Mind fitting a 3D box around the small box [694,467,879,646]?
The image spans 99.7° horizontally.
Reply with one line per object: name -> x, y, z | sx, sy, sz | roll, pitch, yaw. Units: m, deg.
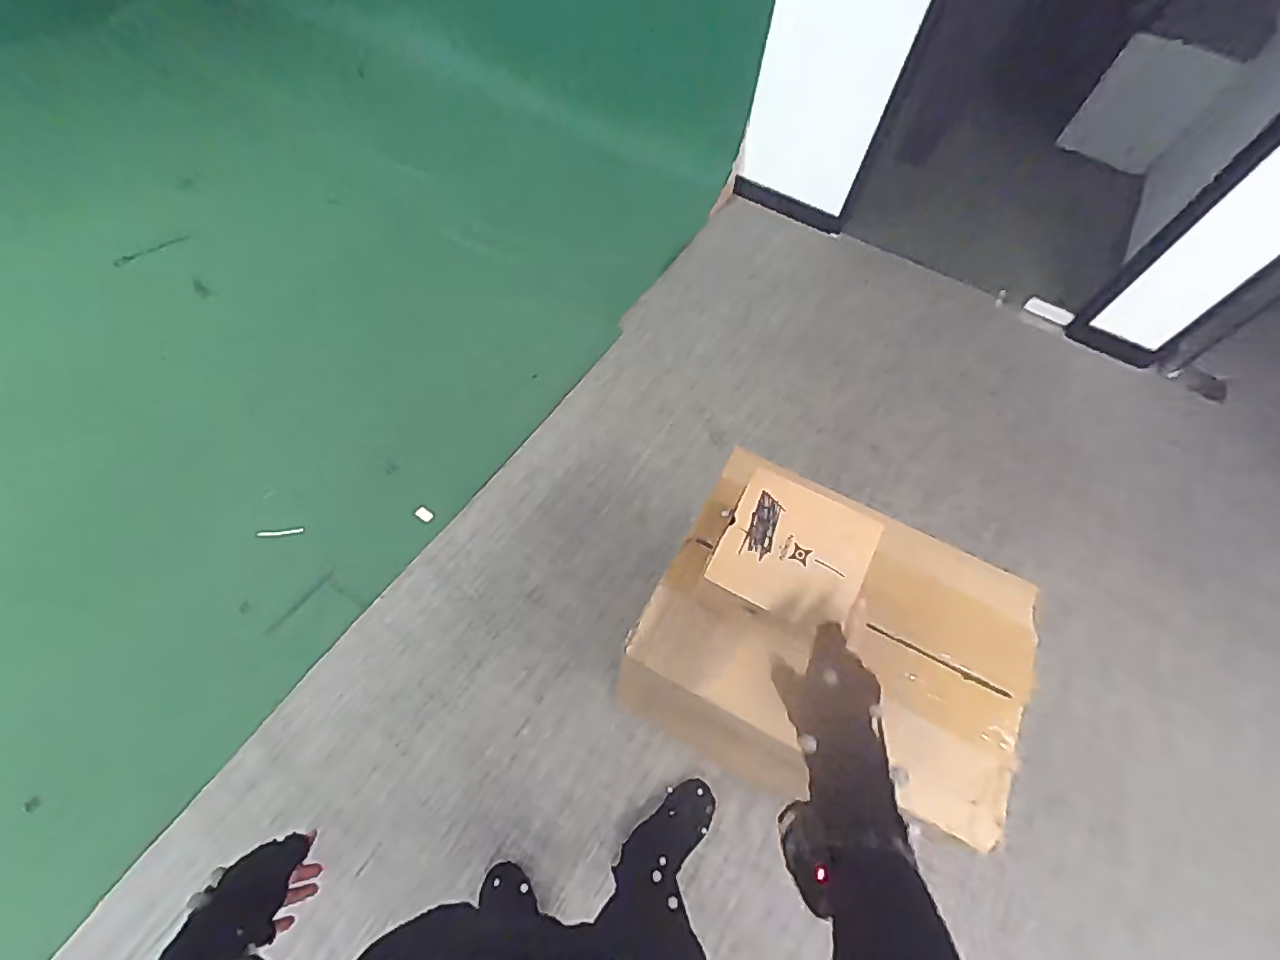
small box -> 0.186, 0.114, 0.738 | 0.179, 0.176, 0.168 | 26, 72, 9
